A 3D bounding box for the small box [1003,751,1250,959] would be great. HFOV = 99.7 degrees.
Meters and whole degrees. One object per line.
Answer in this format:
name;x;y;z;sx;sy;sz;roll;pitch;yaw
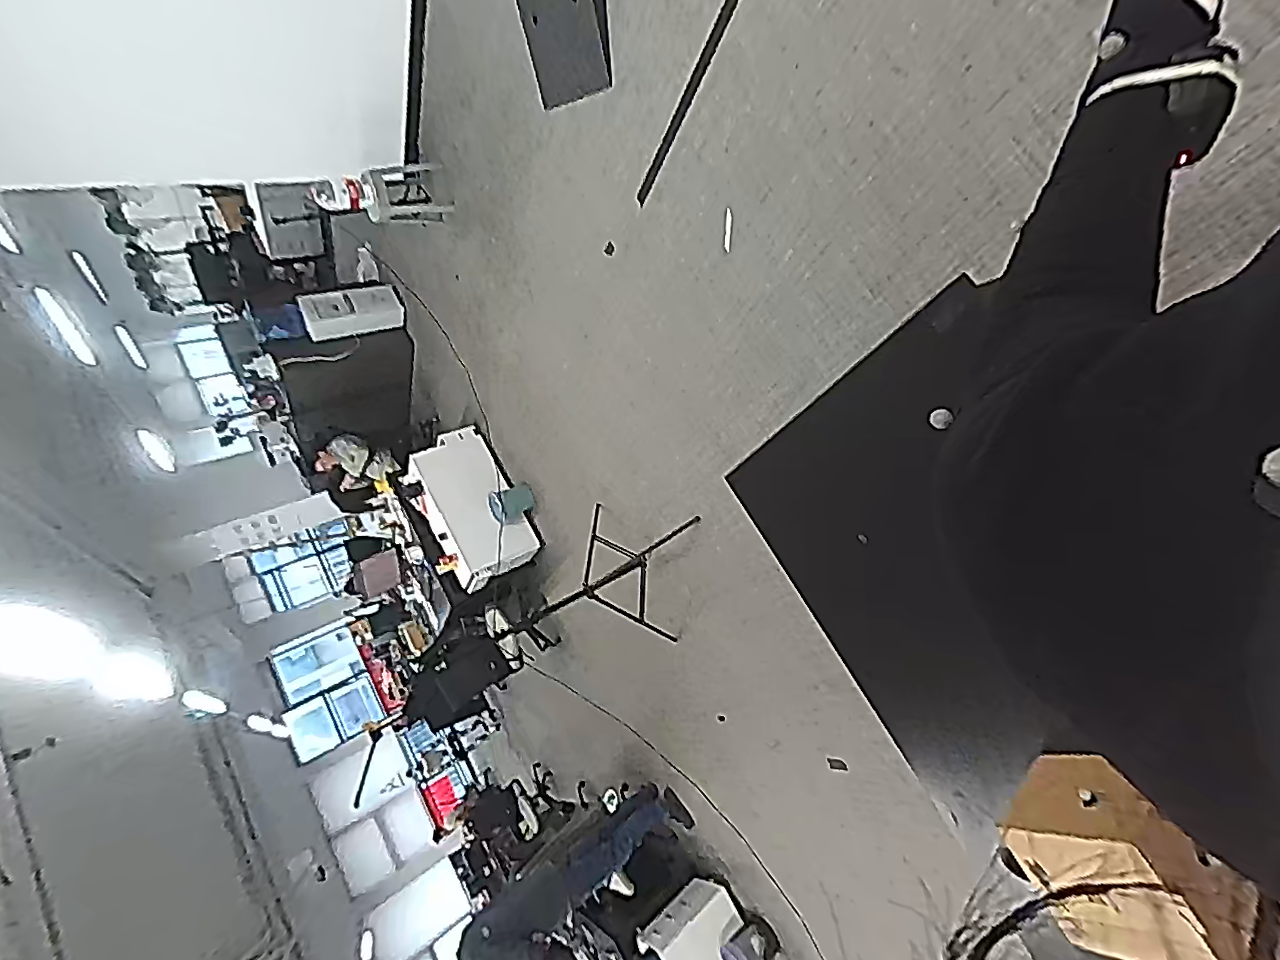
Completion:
small box;0.636;0.478;0.709;0.168;0.176;0.179;59;146;11
